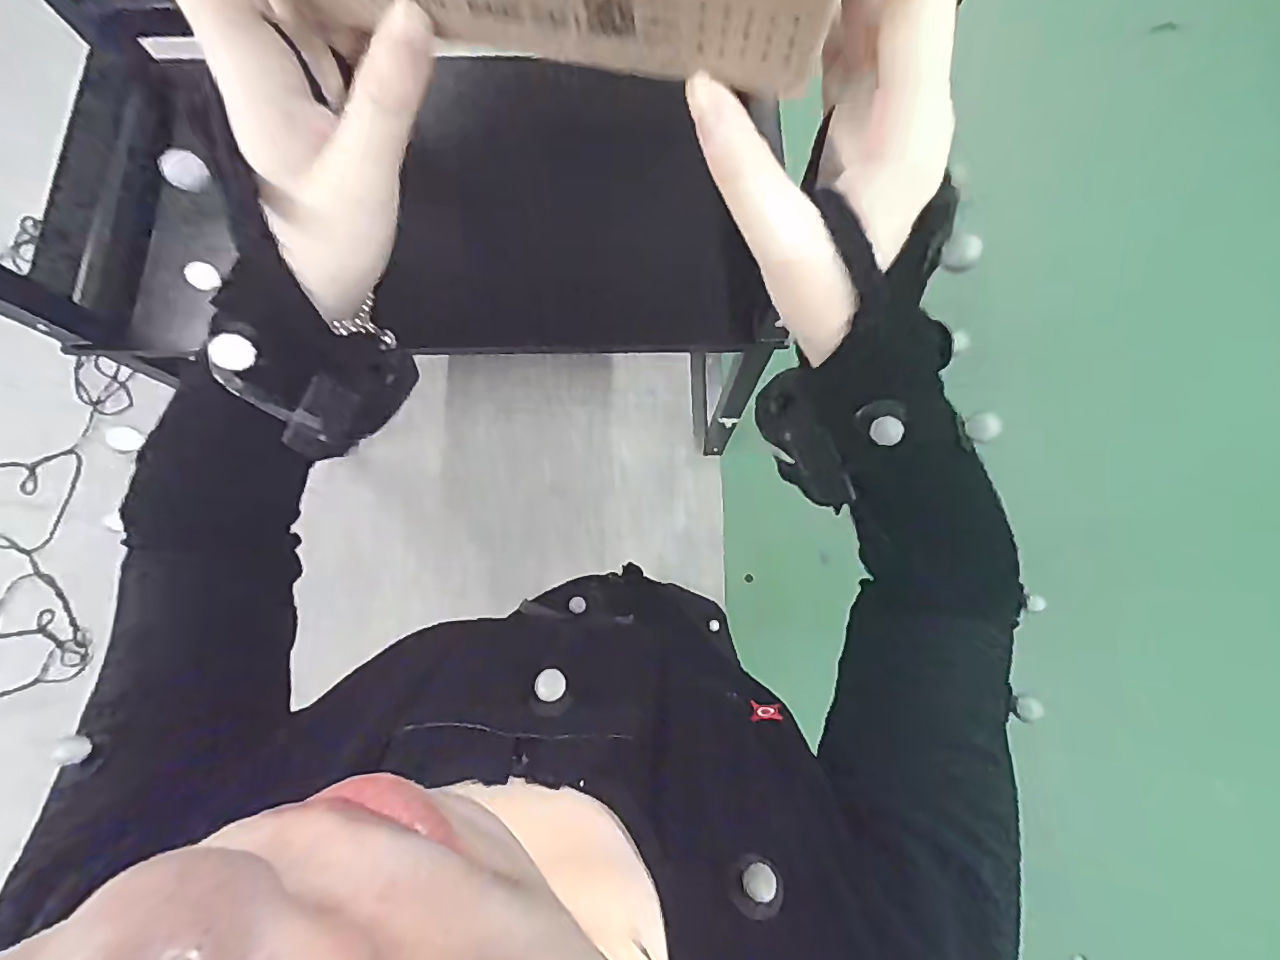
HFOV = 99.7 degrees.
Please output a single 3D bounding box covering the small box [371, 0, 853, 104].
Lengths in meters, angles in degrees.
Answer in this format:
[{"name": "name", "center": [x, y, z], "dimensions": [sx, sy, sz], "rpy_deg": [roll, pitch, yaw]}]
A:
[{"name": "small box", "center": [-0.009, -0.217, 0.101], "dimensions": [0.168, 0.176, 0.179], "rpy_deg": [11, 89, 2]}]
